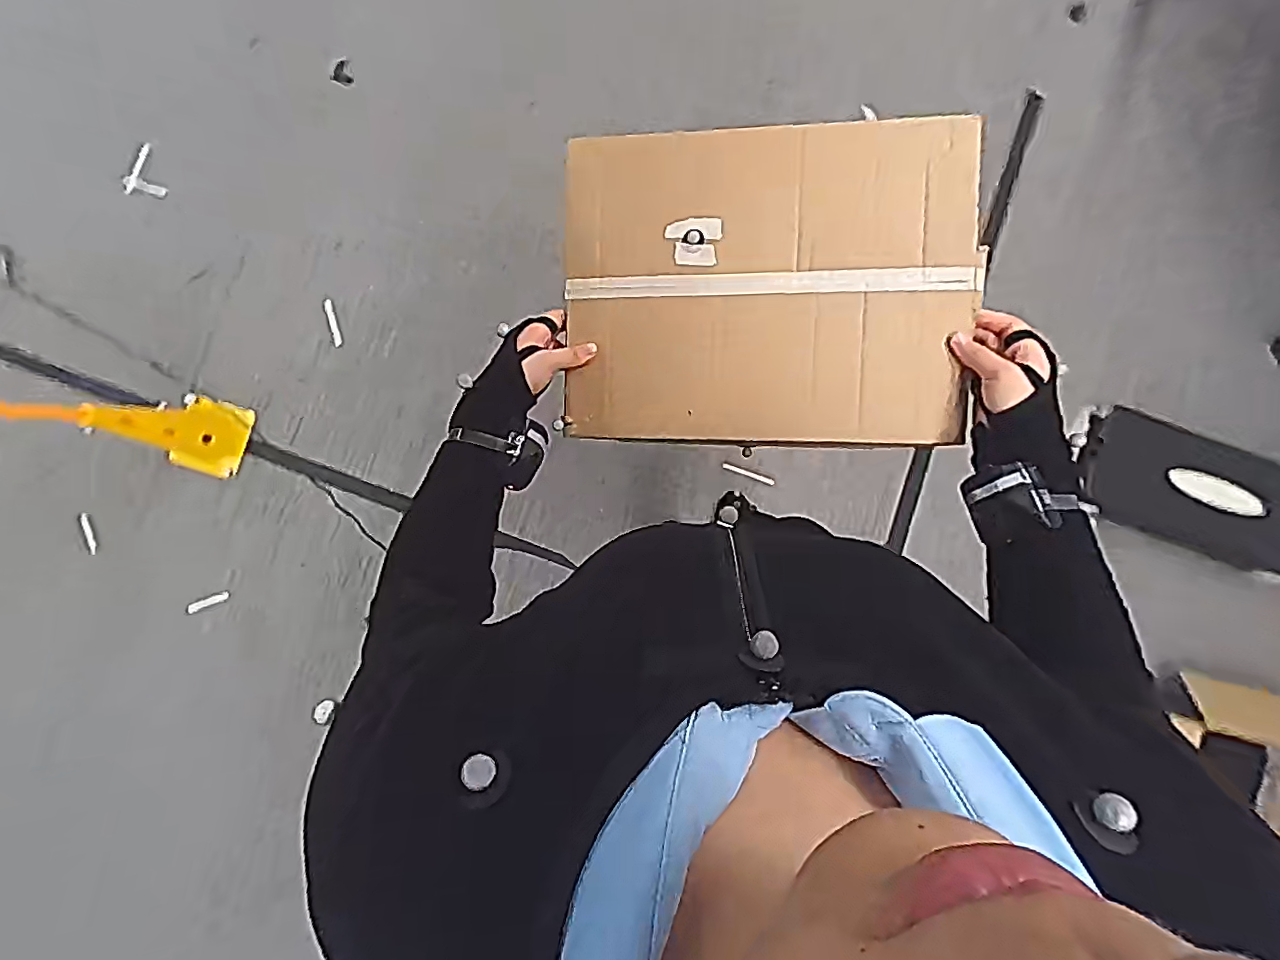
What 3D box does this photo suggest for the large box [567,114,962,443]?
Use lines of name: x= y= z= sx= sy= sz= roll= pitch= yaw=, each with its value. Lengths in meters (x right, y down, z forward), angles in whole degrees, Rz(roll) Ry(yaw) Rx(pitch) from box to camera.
large box: x=0.143 y=-0.206 z=0.704 sx=0.408 sy=0.320 sz=0.320 roll=1 pitch=91 yaw=10
